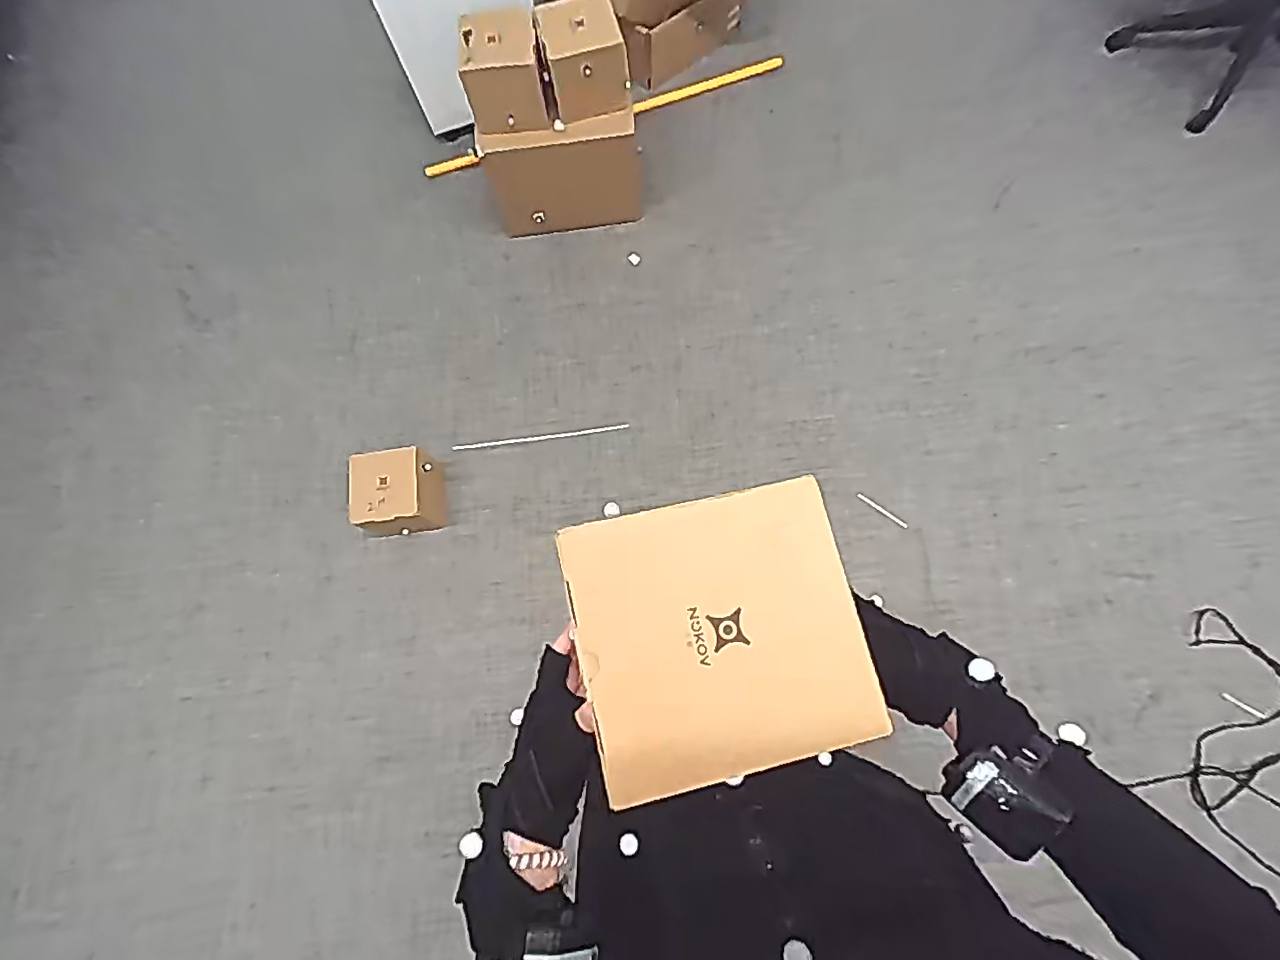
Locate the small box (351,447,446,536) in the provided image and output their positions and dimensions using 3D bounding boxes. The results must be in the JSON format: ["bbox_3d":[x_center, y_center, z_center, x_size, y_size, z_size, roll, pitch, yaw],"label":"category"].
[{"bbox_3d":[-0.601,0.033,1.360,0.168,0.176,0.179,-8,75,1],"label":"small box"}]

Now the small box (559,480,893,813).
[{"bbox_3d":[0.046,0.109,0.405,0.179,0.176,0.168,-13,79,-5],"label":"small box"}]
